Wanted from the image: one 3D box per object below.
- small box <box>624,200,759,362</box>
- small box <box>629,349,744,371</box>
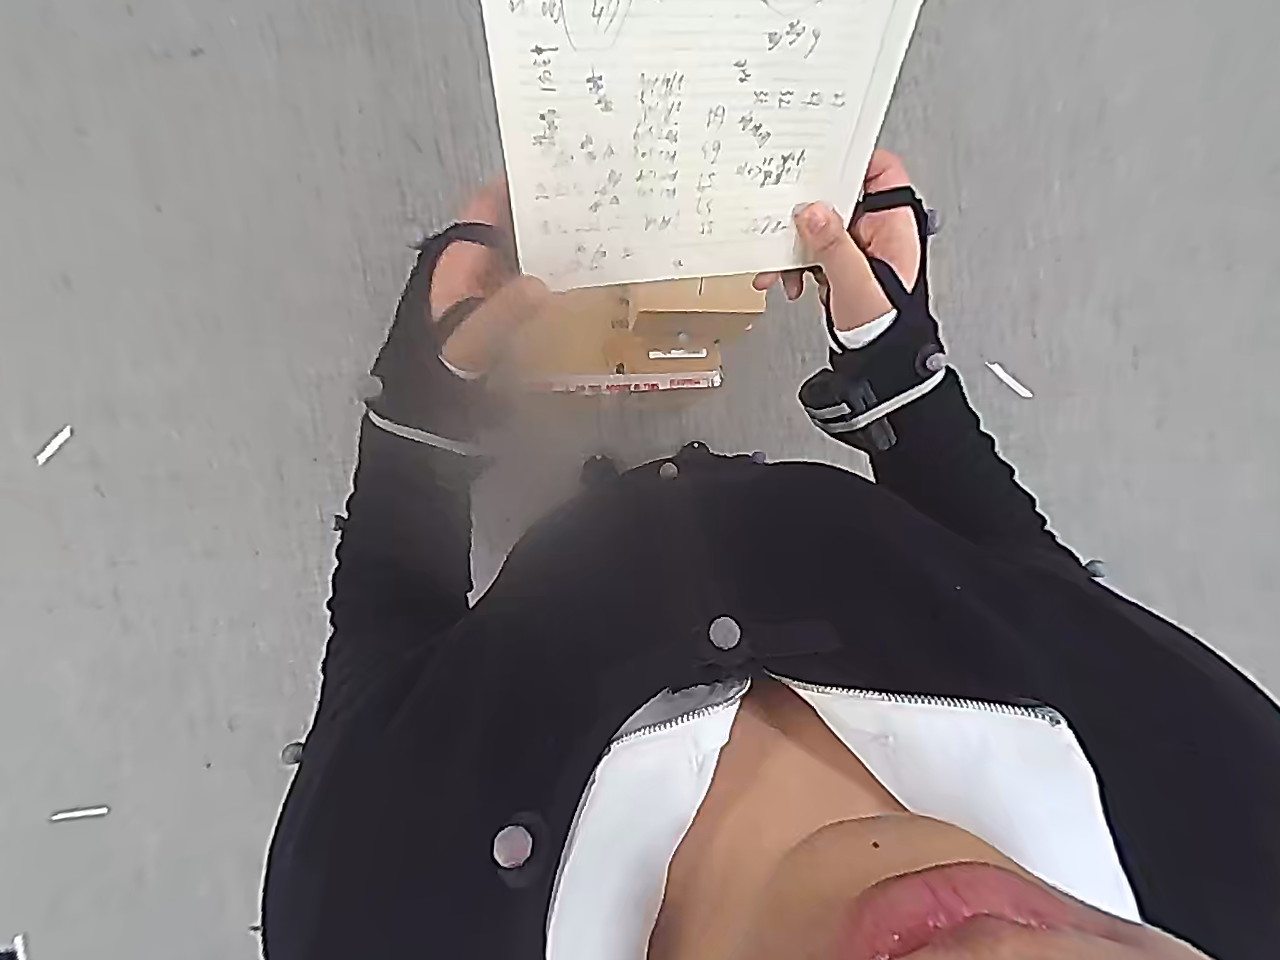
[{"bbox_3d":[0.063,-0.270,0.769,0.168,0.176,0.179,0,95,-5],"label":"small box"},{"bbox_3d":[0.071,-0.285,0.934,0.179,0.176,0.168,-4,94,-3],"label":"small box"}]
